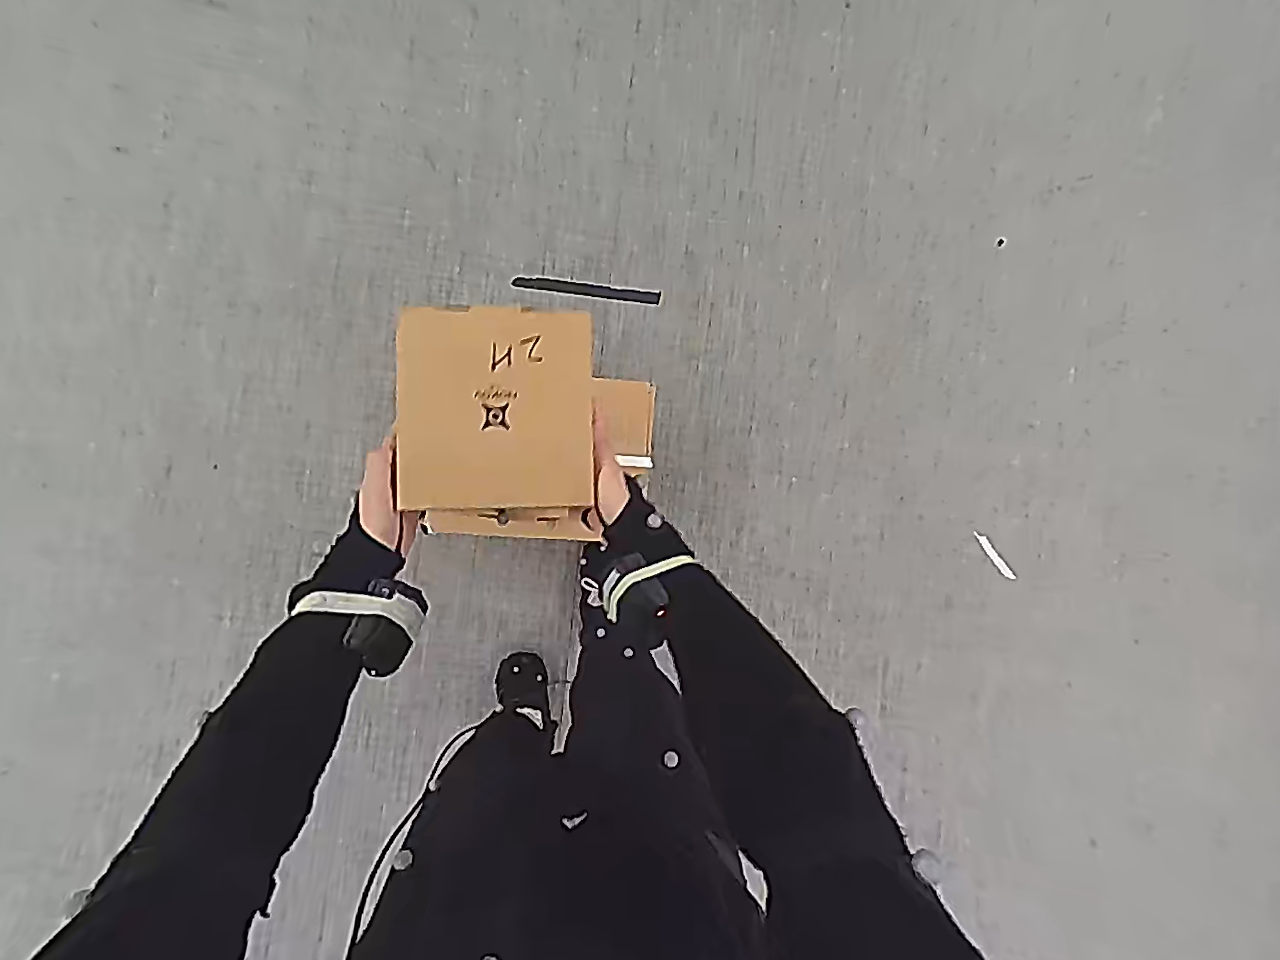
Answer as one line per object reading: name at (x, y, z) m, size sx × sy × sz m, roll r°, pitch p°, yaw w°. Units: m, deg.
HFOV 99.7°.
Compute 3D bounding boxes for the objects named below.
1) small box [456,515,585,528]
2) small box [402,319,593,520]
small box at (-0.154, -0.027, 0.763) m, size 0.168 × 0.176 × 0.179 m, roll 2°, pitch 87°, yaw -7°
small box at (-0.133, -0.049, 0.553) m, size 0.168 × 0.176 × 0.179 m, roll -1°, pitch 85°, yaw -9°
